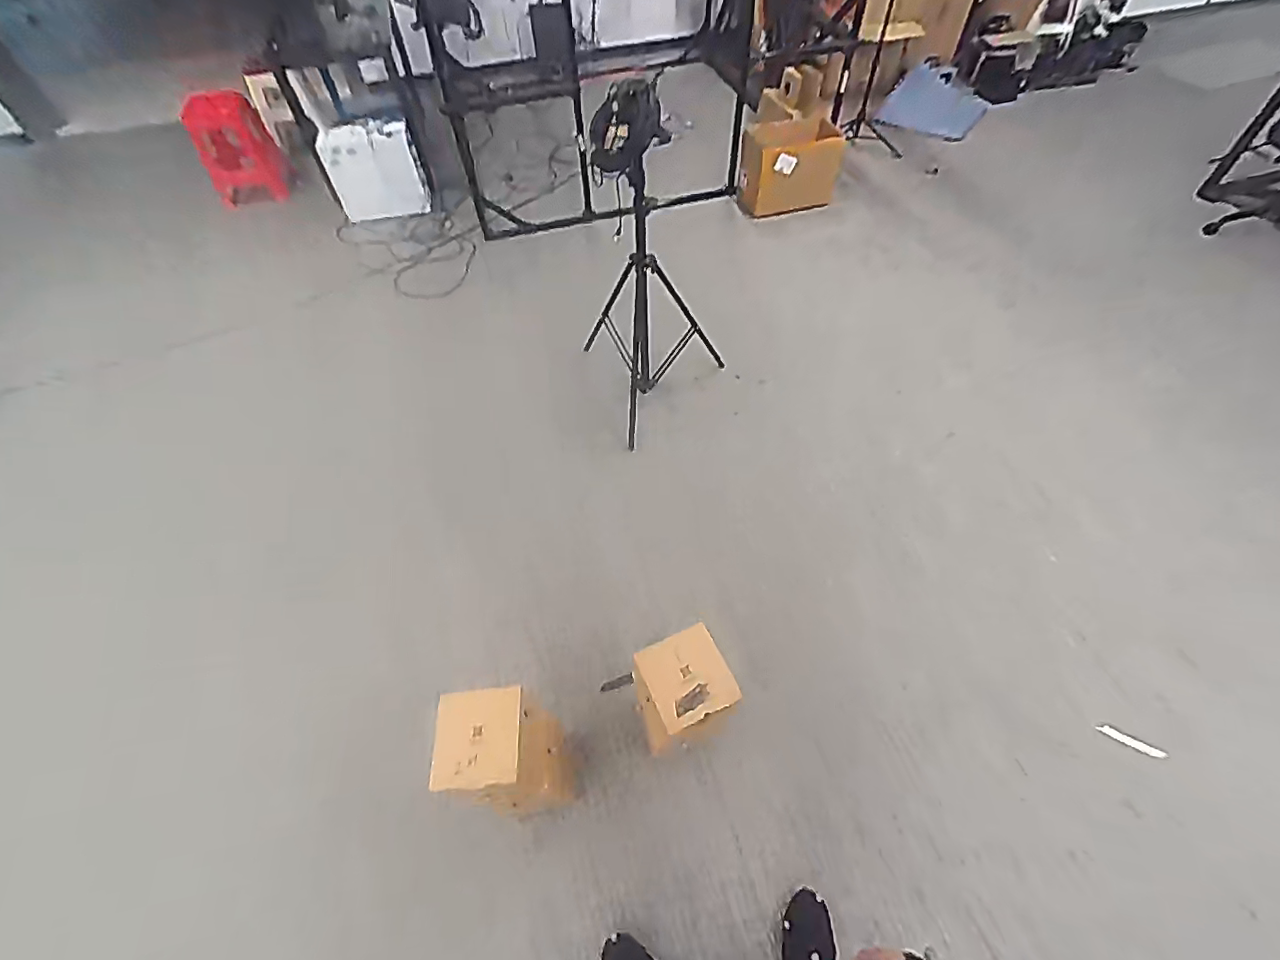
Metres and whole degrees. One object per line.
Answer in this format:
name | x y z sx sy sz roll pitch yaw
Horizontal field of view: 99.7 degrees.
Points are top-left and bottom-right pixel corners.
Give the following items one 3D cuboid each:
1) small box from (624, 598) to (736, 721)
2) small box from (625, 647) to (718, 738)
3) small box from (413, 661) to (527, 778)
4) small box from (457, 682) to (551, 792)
small box | 0.078 0.378 1.118 0.168 0.176 0.179 -22 57 -13
small box | 0.068 0.471 1.255 0.168 0.176 0.179 -15 55 -9
small box | -0.325 0.476 1.069 0.168 0.176 0.179 -6 56 0
small box | -0.299 0.574 1.201 0.168 0.176 0.179 -11 56 -4
